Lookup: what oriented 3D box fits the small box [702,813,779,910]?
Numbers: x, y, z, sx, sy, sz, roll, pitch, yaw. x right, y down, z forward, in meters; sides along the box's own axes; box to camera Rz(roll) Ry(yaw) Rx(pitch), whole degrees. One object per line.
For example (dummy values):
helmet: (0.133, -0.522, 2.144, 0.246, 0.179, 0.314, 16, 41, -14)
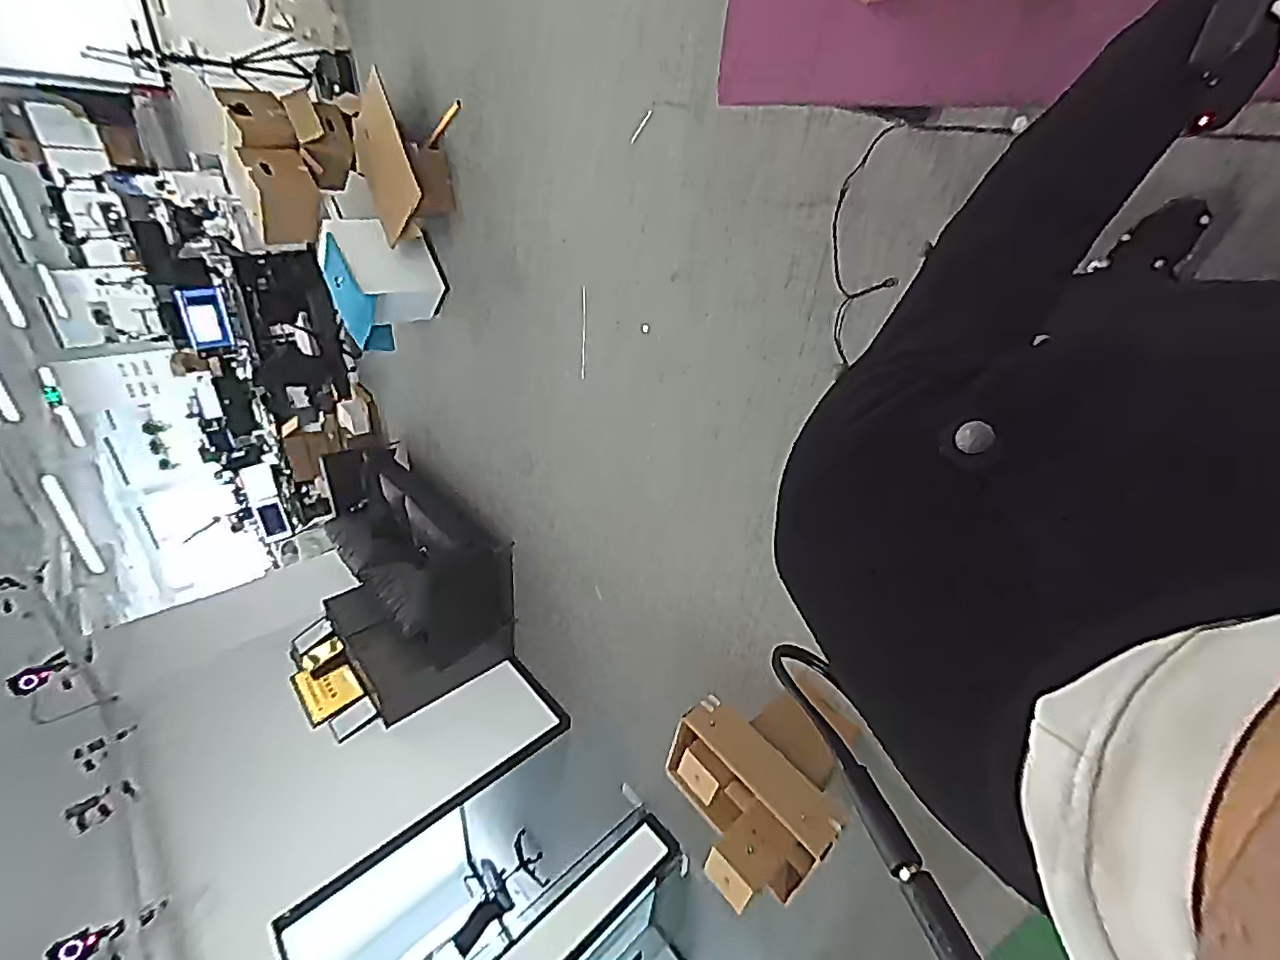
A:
small box: (0.338, 1.264, 1.804, 0.168, 0.176, 0.179, 36, 131, 35)
